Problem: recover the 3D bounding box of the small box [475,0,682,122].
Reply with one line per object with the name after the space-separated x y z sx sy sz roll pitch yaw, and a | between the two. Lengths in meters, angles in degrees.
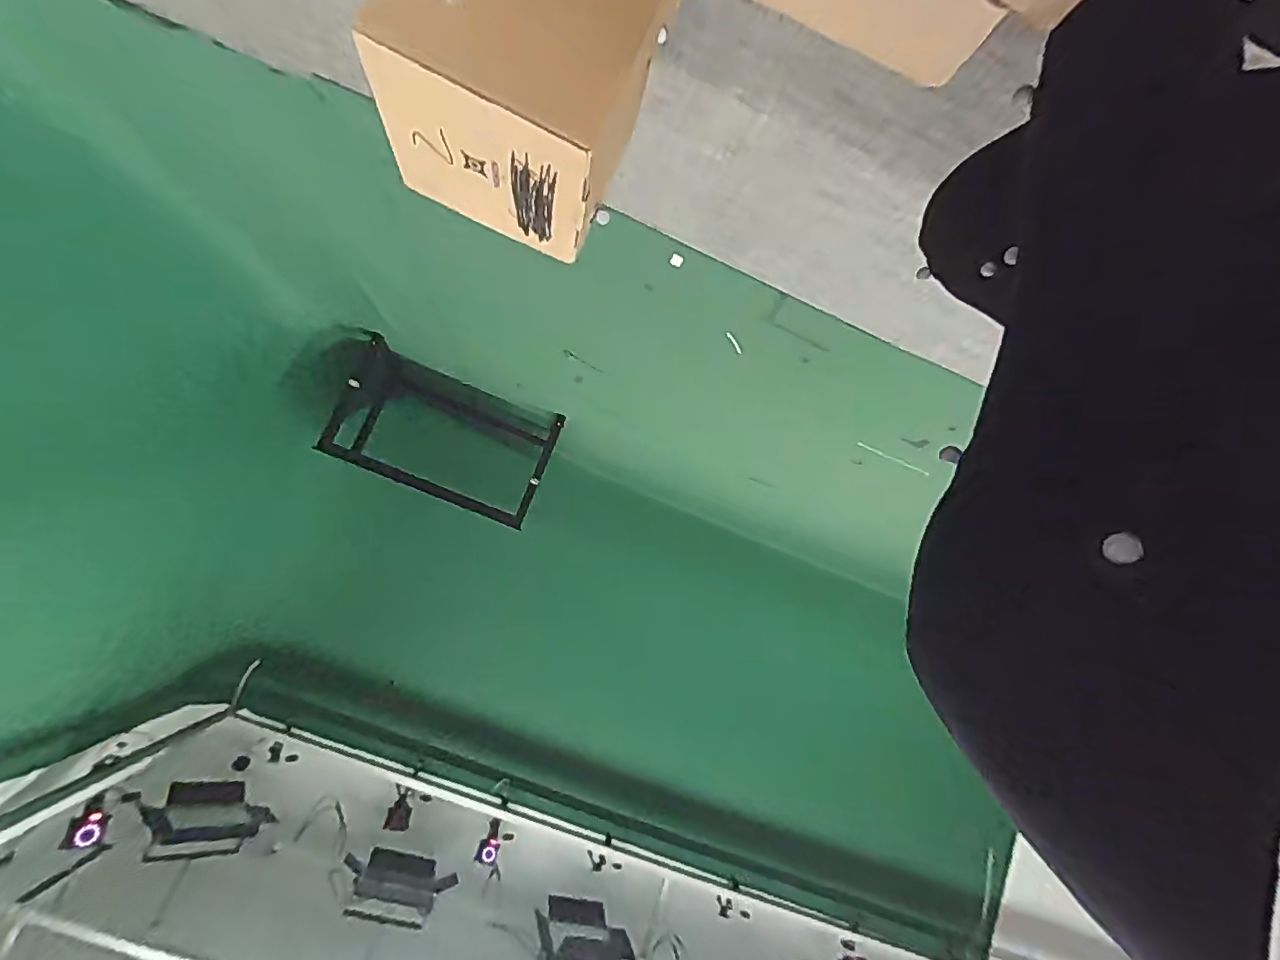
-0.041 -0.488 0.486 0.168 0.176 0.179 22 171 -7 | small box
